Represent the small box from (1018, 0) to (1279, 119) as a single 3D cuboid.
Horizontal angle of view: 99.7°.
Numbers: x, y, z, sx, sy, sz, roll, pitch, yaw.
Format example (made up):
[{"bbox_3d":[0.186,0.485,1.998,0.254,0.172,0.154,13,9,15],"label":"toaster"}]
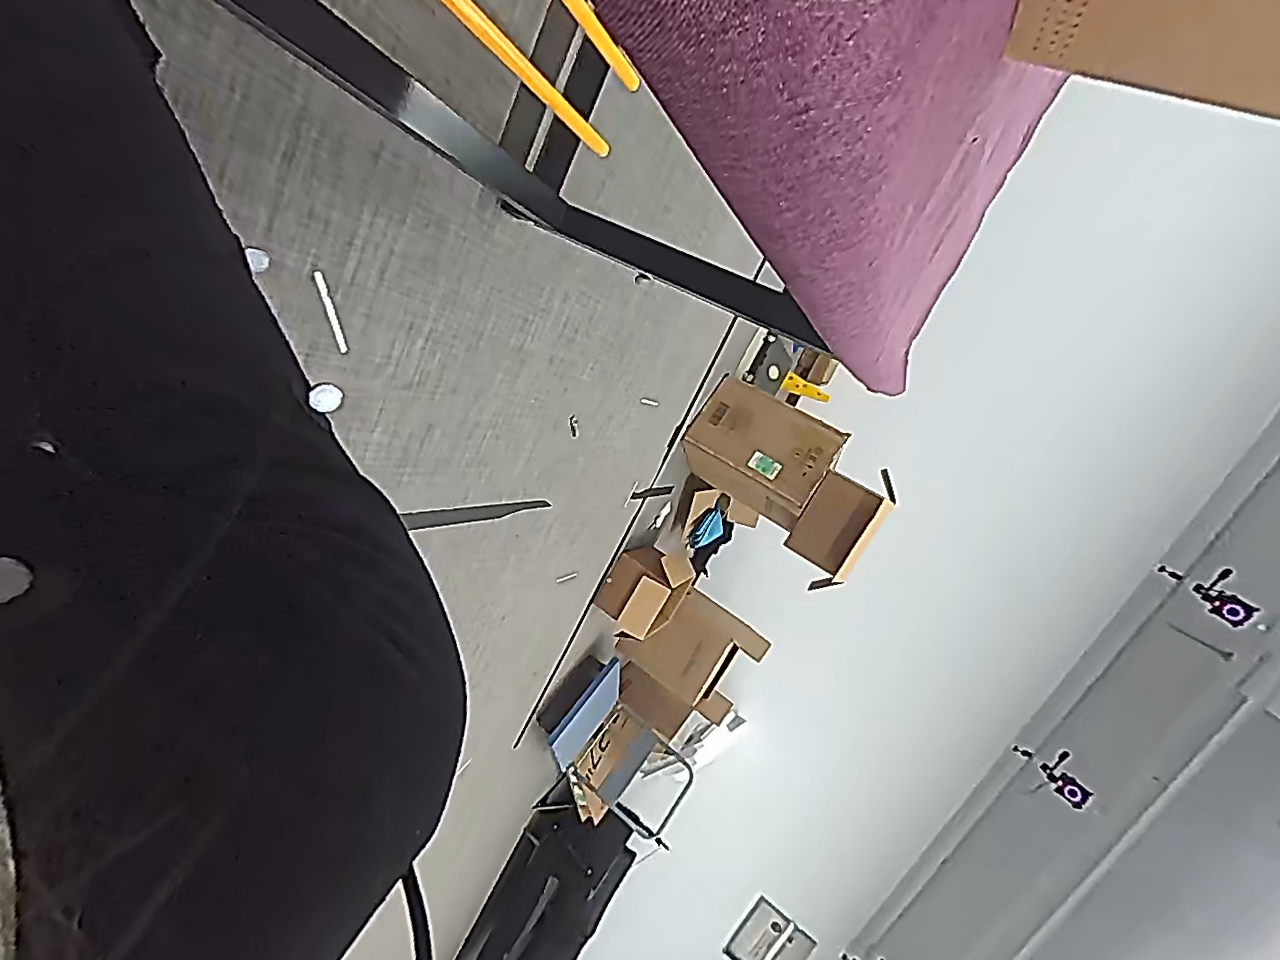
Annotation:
[{"bbox_3d":[0.259,-0.253,0.166,0.168,0.176,0.179,-64,160,12],"label":"small box"}]
